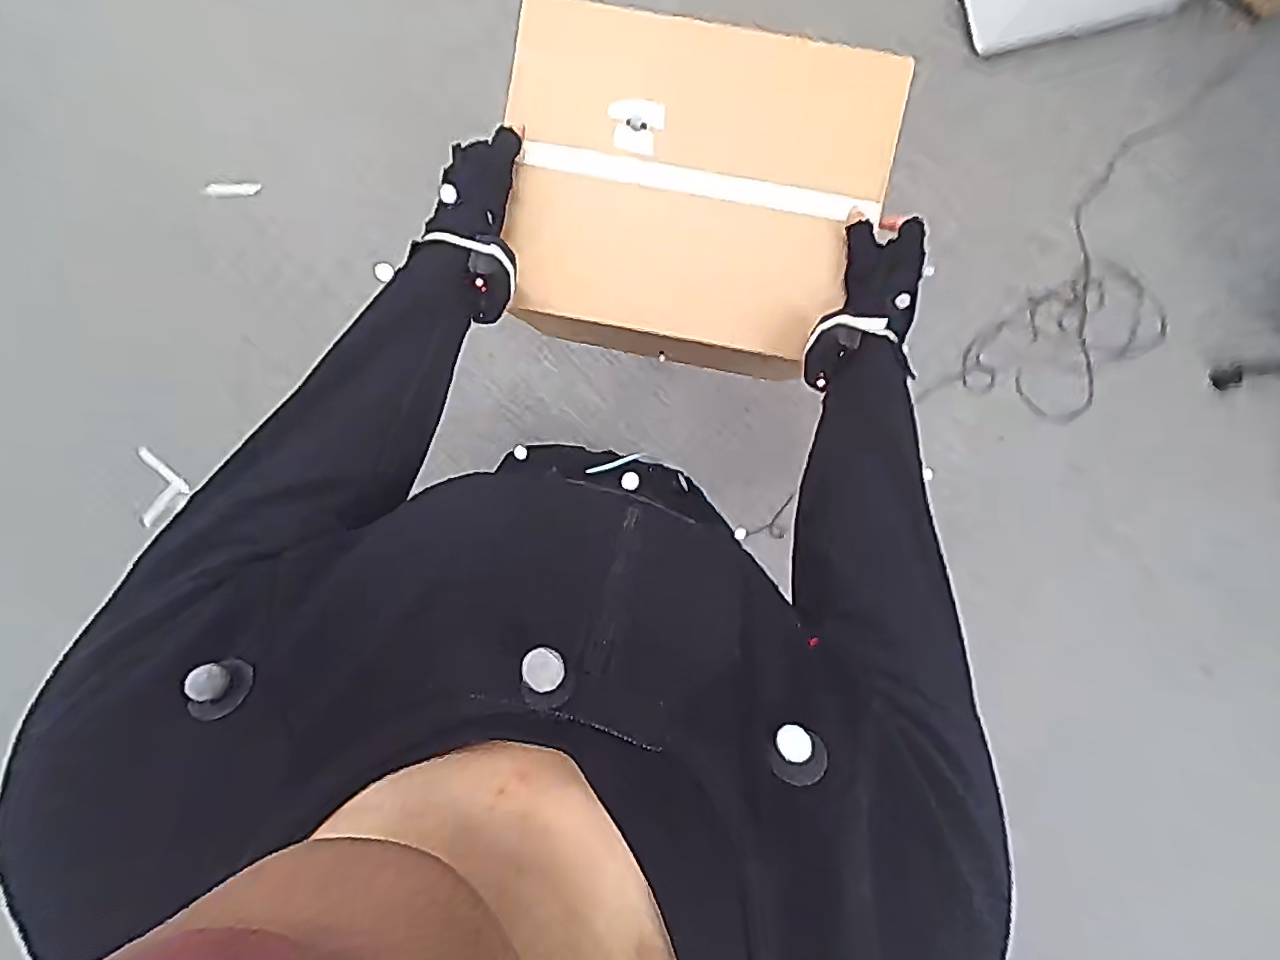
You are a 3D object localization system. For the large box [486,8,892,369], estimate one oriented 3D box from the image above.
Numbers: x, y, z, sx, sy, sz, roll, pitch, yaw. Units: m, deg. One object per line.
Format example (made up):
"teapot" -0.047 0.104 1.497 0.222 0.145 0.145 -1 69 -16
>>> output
"large box" 0.052 -0.337 0.728 0.408 0.320 0.320 10 98 2
